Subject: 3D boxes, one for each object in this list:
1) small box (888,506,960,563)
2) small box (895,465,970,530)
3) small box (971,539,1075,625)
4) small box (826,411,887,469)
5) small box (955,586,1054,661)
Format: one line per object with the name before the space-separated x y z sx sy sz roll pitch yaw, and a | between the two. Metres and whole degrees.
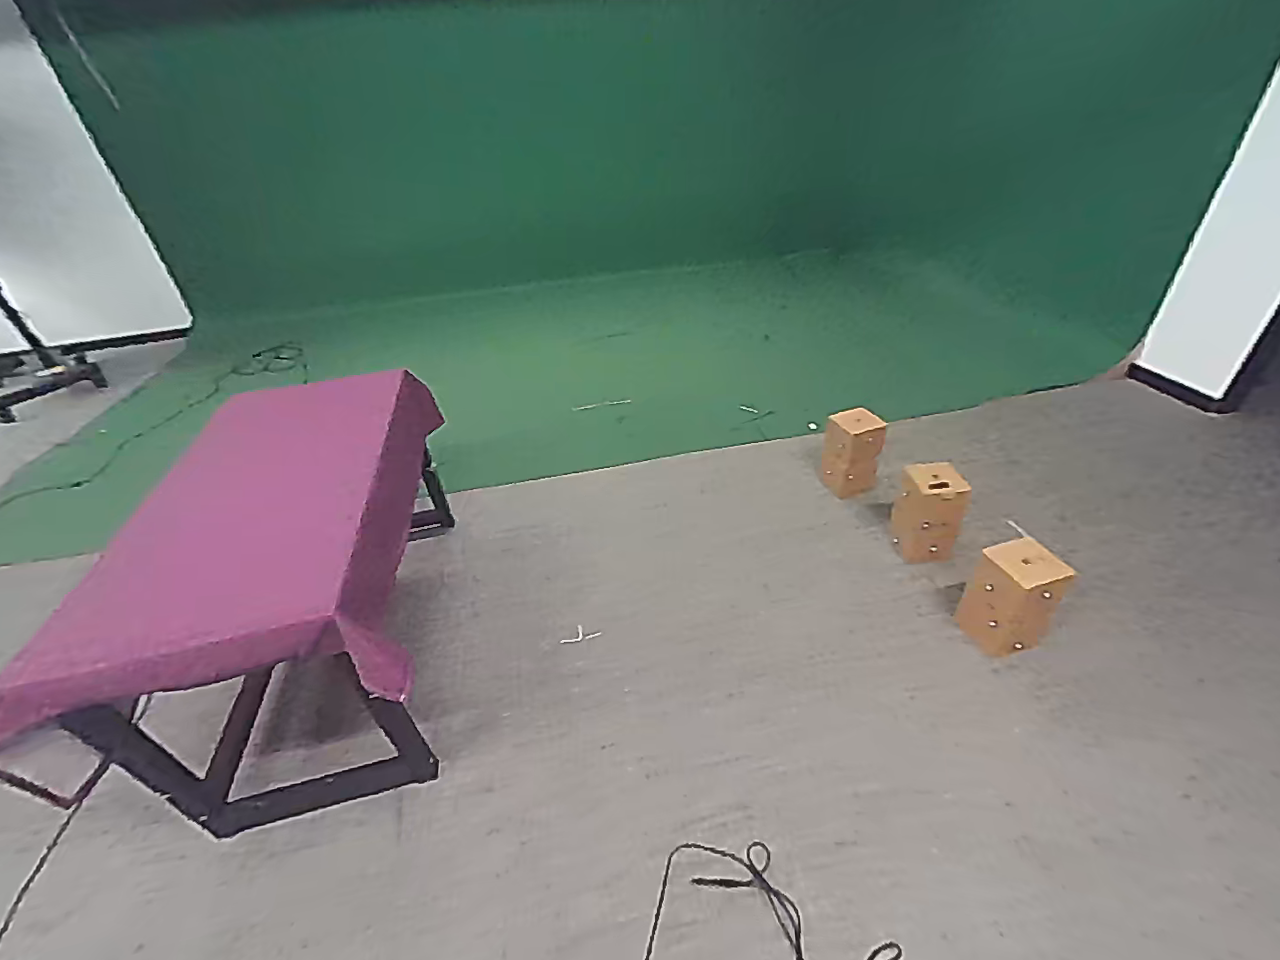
small box | 1.063 0.200 2.038 0.168 0.176 0.179 -5 36 0
small box | 1.042 0.067 1.941 0.168 0.176 0.179 -5 35 1
small box | 1.121 0.306 1.604 0.179 0.176 0.168 -12 37 -9
small box | 0.906 -0.168 2.284 0.179 0.176 0.168 -15 38 -14
small box | 1.139 0.435 1.706 0.168 0.176 0.179 -13 37 -10
